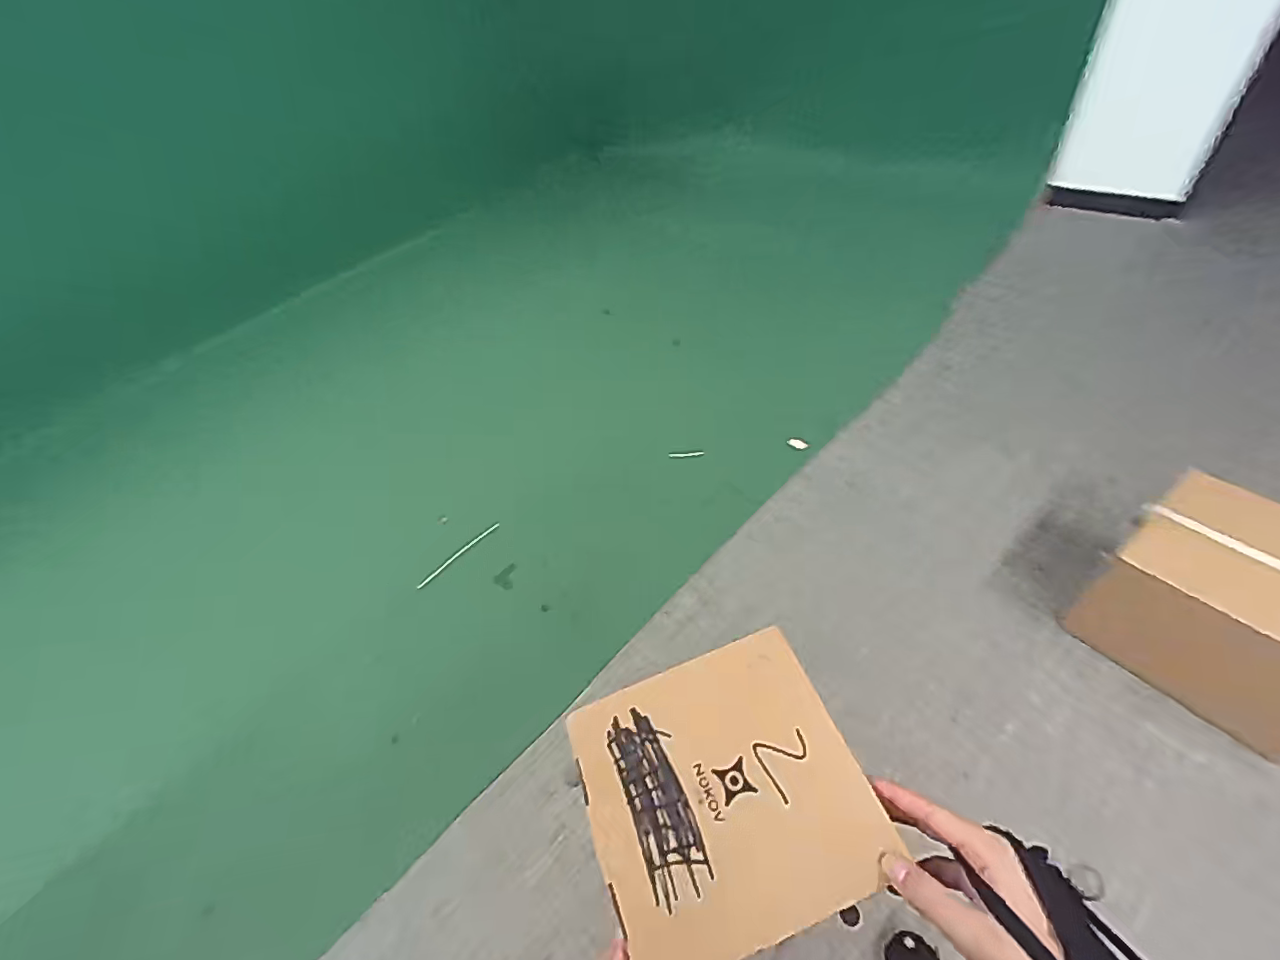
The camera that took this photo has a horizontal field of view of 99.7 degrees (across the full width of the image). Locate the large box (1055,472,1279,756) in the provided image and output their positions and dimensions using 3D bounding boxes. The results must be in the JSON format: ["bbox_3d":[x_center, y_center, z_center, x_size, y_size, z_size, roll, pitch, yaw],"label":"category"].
[{"bbox_3d":[1.187,0.260,1.101,0.320,0.320,0.408,-37,52,-17],"label":"large box"}]
